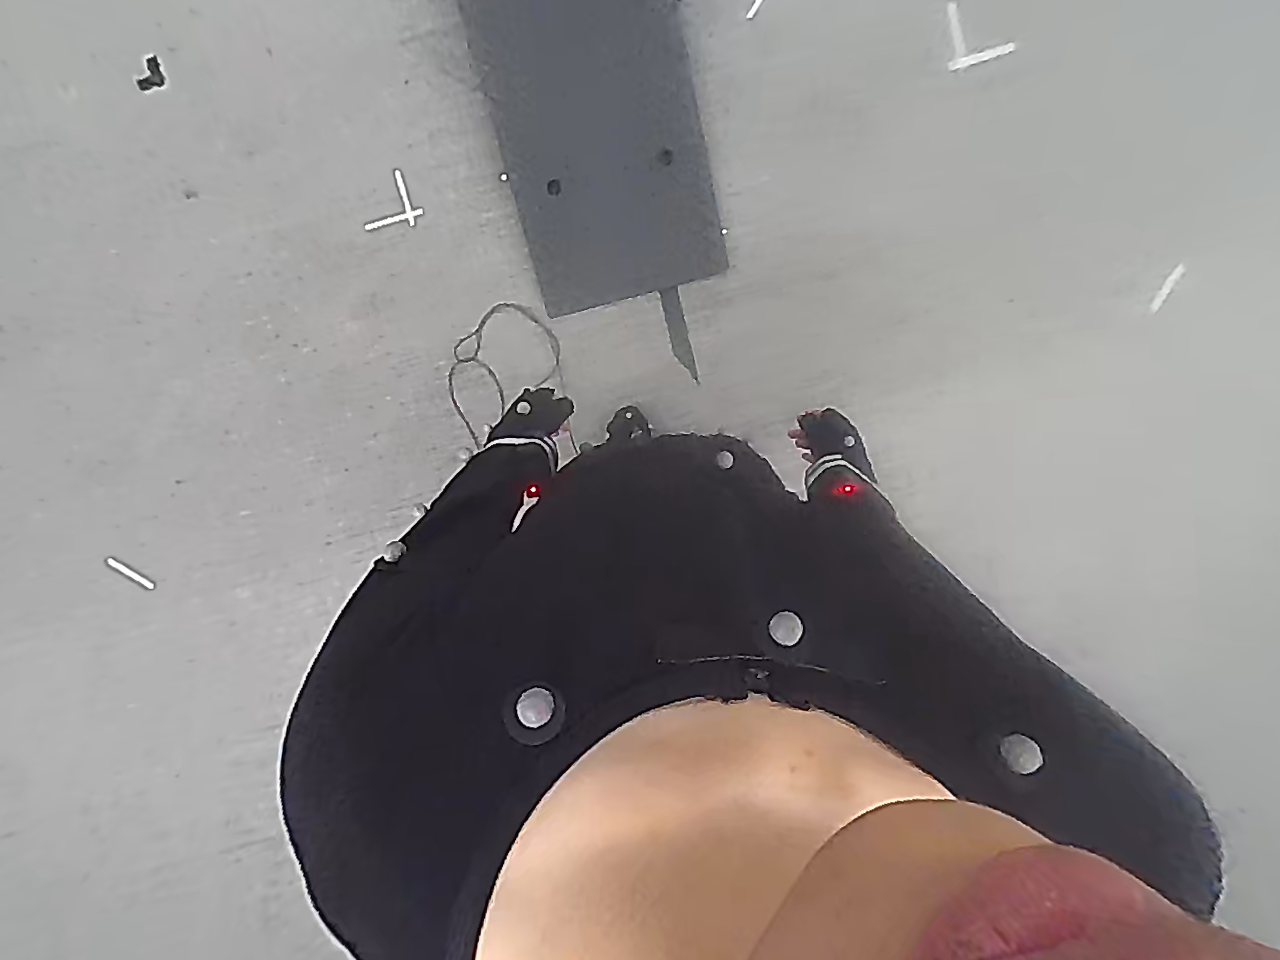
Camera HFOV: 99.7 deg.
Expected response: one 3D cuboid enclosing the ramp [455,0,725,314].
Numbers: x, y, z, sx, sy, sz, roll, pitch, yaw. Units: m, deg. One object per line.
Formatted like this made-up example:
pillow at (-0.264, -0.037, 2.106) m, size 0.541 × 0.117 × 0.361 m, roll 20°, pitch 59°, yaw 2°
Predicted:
ramp at (-0.129, -0.956, 1.274) m, size 0.509 × 0.206 × 0.991 m, roll -17°, pitch 97°, yaw -1°
